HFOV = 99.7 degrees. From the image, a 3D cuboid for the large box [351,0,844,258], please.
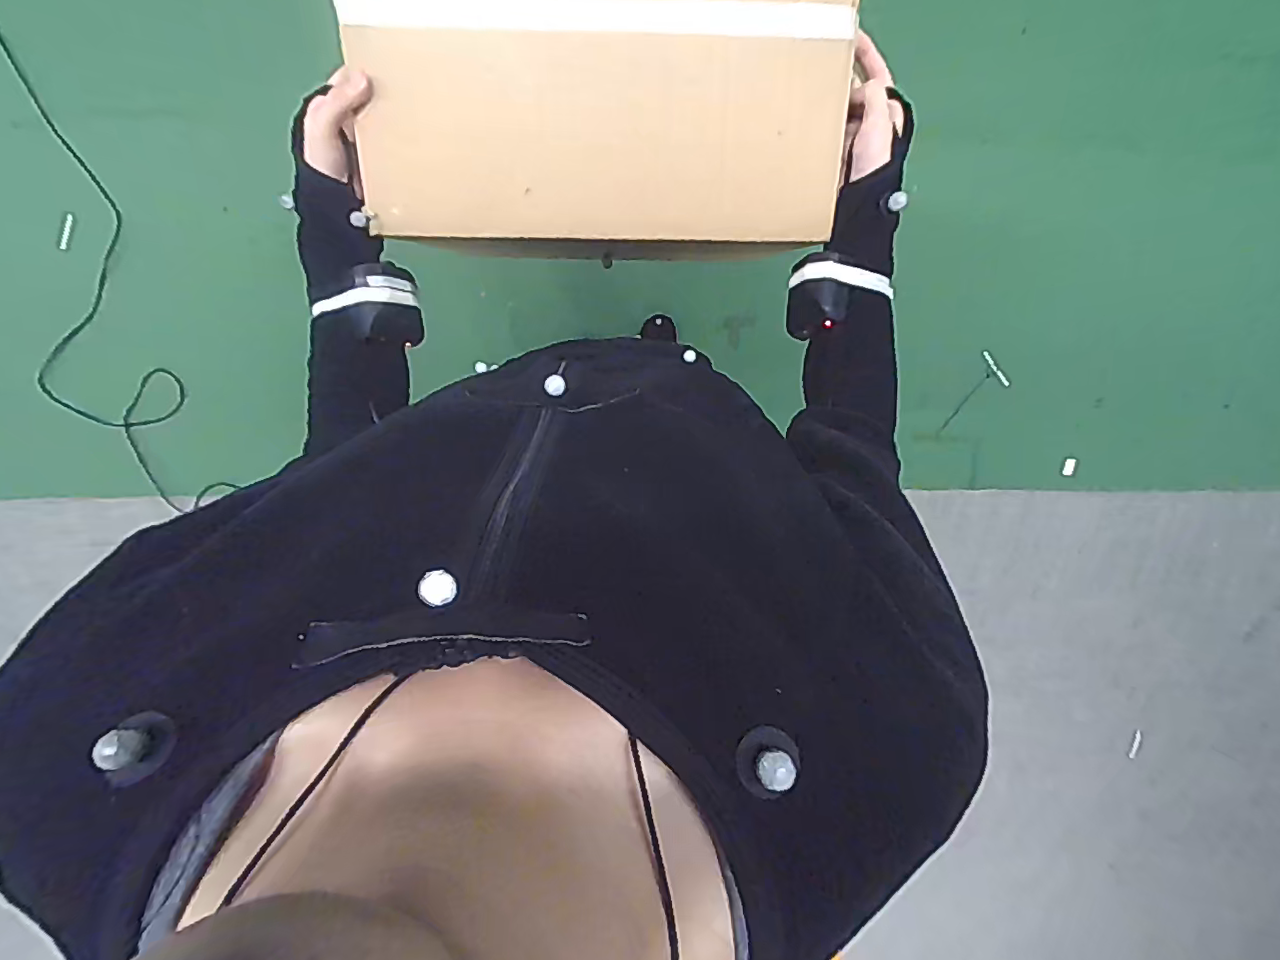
[{"bbox_3d":[-0.037,-0.411,0.581,0.408,0.320,0.320,0,108,-3],"label":"large box"}]
